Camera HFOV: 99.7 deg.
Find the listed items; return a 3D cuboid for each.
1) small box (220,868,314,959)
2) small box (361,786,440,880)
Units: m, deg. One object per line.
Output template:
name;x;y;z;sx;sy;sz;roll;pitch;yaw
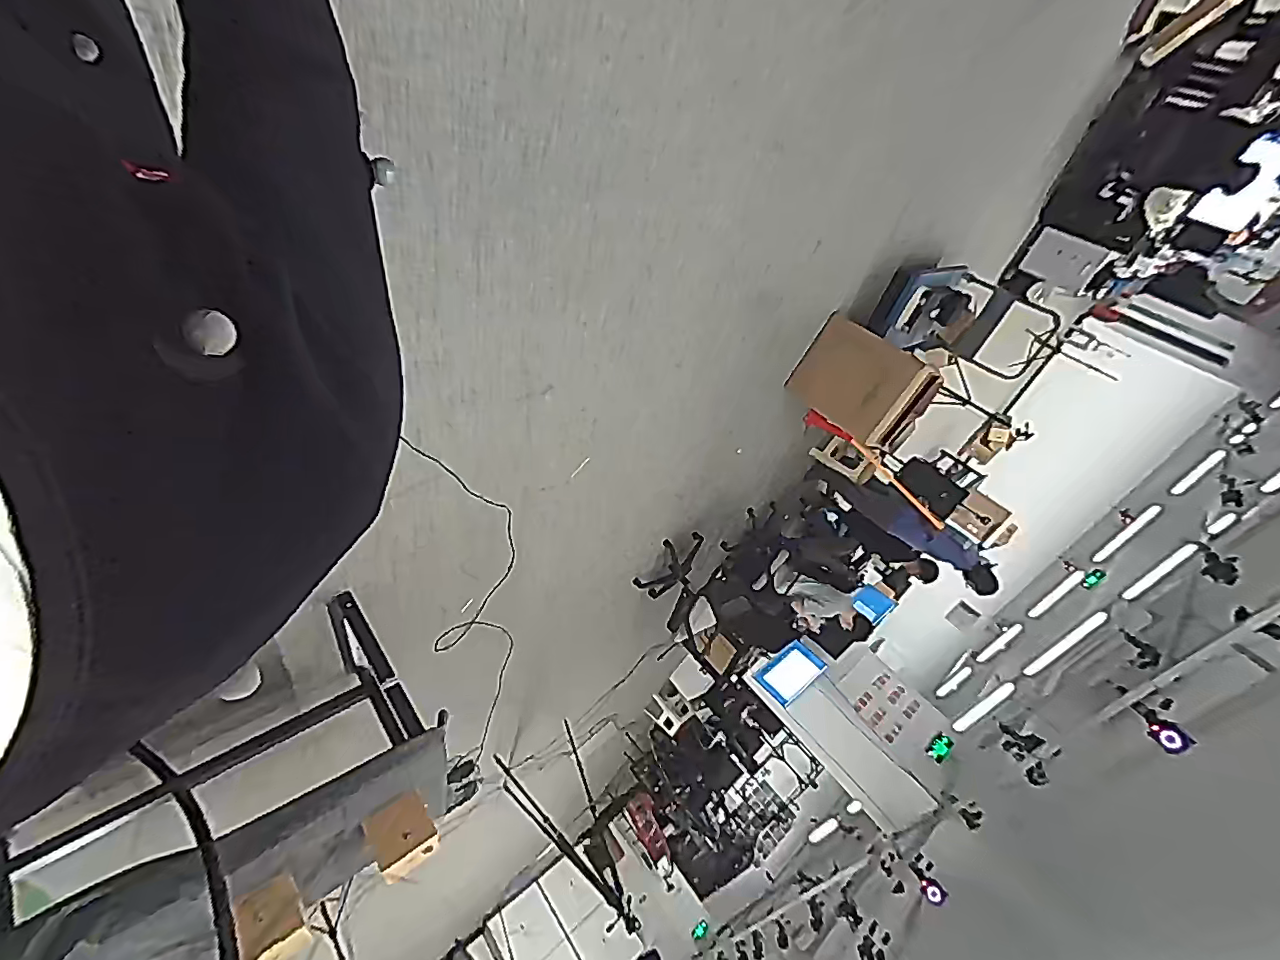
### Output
small box;-1.038;1.231;1.506;0.168;0.176;0.179;-21;142;-38
small box;-0.766;1.127;1.736;0.179;0.176;0.168;-23;144;-34
